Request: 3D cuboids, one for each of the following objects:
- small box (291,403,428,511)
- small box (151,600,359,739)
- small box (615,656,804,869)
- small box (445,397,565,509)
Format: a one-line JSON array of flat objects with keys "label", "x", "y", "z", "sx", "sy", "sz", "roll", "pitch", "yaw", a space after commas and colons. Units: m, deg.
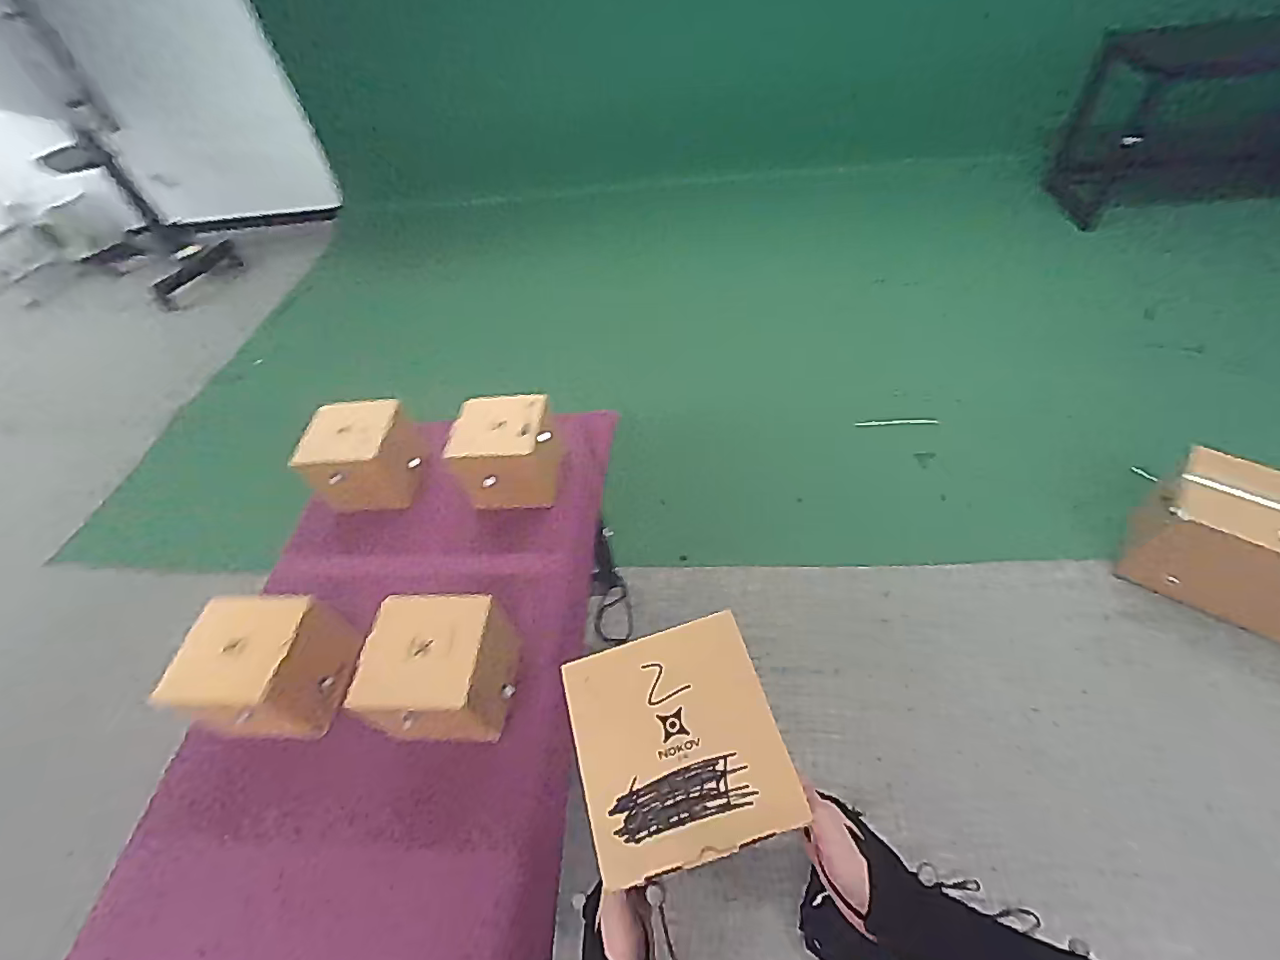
[{"label": "small box", "x": -0.586, "y": -0.044, "z": 1.158, "sx": 0.179, "sy": 0.176, "sz": 0.168, "roll": -3, "pitch": 52, "yaw": 5}, {"label": "small box", "x": -0.596, "y": 0.306, "z": 0.867, "sx": 0.179, "sy": 0.176, "sz": 0.168, "roll": -2, "pitch": 49, "yaw": 5}, {"label": "small box", "x": 0.081, "y": 0.336, "z": 0.647, "sx": 0.168, "sy": 0.176, "sz": 0.179, "roll": -17, "pitch": 55, "yaw": 0}, {"label": "small box", "x": -0.269, "y": -0.051, "z": 1.121, "sx": 0.179, "sy": 0.176, "sz": 0.168, "roll": -3, "pitch": 51, "yaw": 9}]
